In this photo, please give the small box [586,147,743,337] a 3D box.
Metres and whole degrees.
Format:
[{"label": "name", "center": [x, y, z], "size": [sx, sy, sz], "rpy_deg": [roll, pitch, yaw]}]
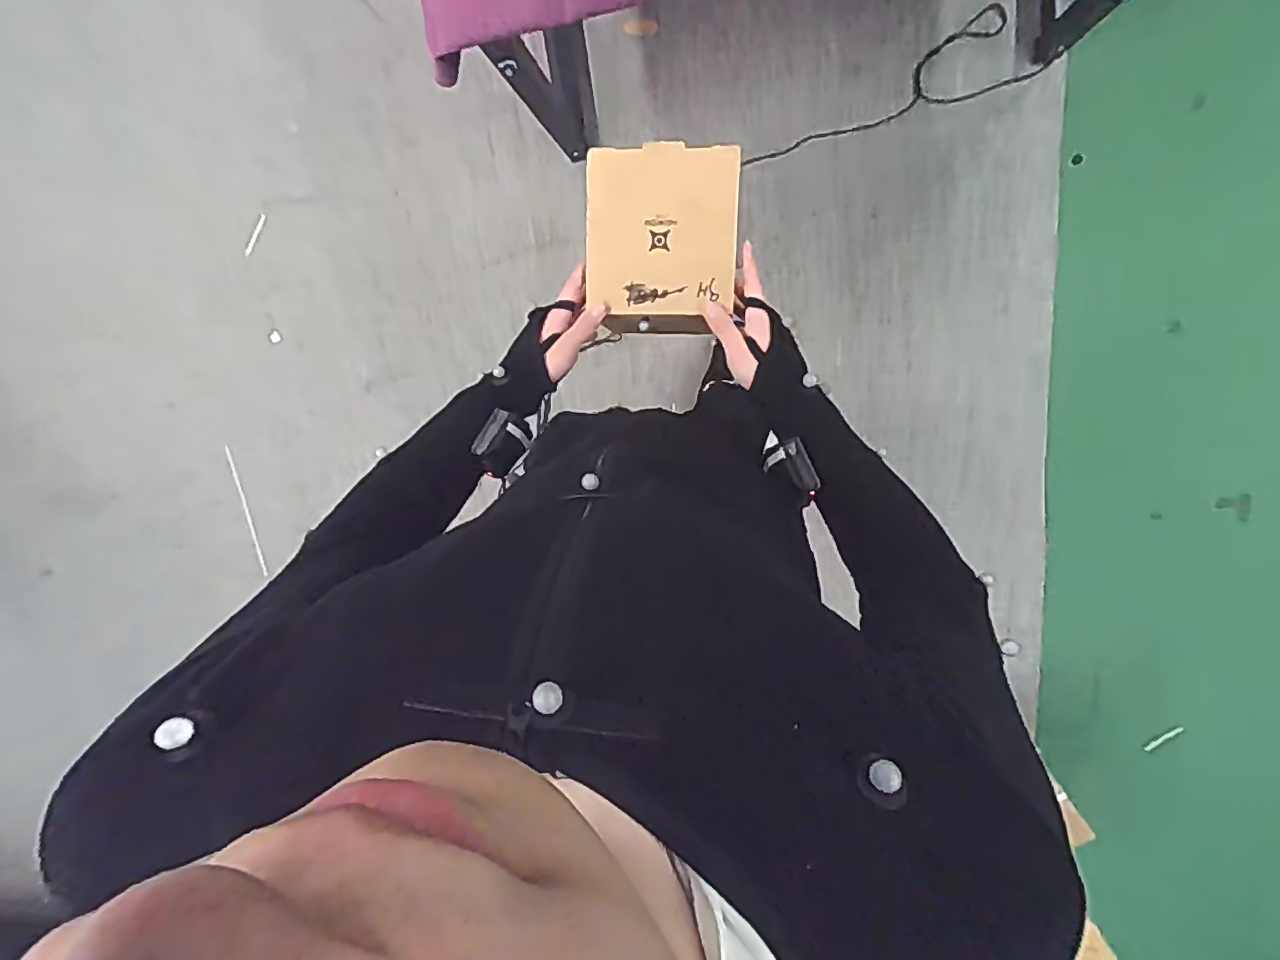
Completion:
[{"label": "small box", "center": [0.031, -0.275, 0.659], "size": [0.168, 0.176, 0.179], "rpy_deg": [2, 99, 6]}]
